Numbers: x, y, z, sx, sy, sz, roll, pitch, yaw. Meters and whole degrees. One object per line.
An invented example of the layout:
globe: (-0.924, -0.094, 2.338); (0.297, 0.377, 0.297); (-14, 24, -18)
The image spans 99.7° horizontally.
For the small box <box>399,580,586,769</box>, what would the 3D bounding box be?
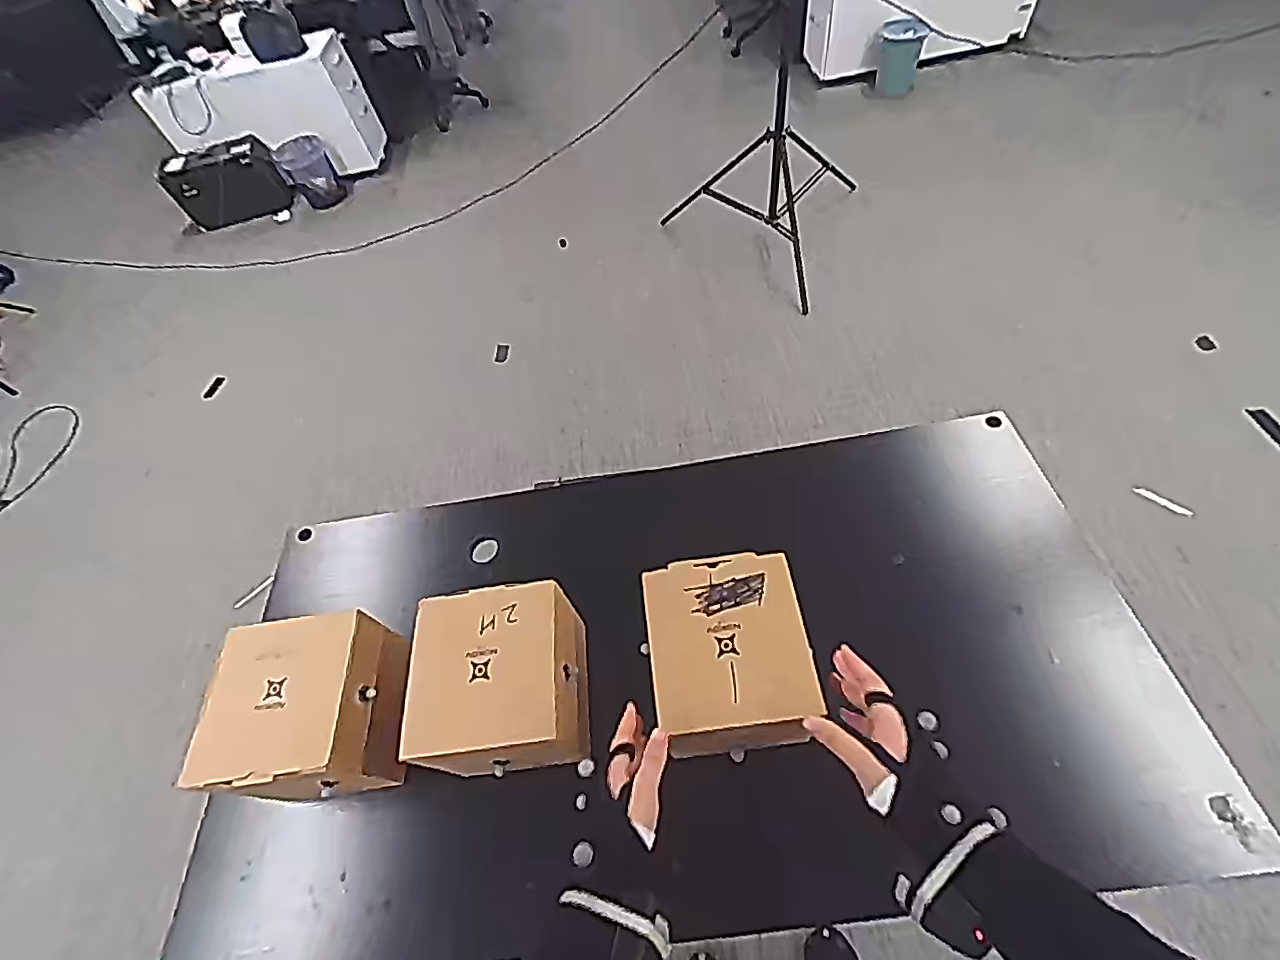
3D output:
small box: (-0.163, 0.243, 0.657); (0.168, 0.176, 0.179); (-9, 56, 3)

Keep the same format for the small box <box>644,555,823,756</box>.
small box: (0.100, 0.211, 0.636); (0.168, 0.176, 0.179); (-9, 56, 3)

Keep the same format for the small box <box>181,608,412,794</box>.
small box: (-0.399, 0.281, 0.673); (0.168, 0.176, 0.179); (-9, 54, 1)
